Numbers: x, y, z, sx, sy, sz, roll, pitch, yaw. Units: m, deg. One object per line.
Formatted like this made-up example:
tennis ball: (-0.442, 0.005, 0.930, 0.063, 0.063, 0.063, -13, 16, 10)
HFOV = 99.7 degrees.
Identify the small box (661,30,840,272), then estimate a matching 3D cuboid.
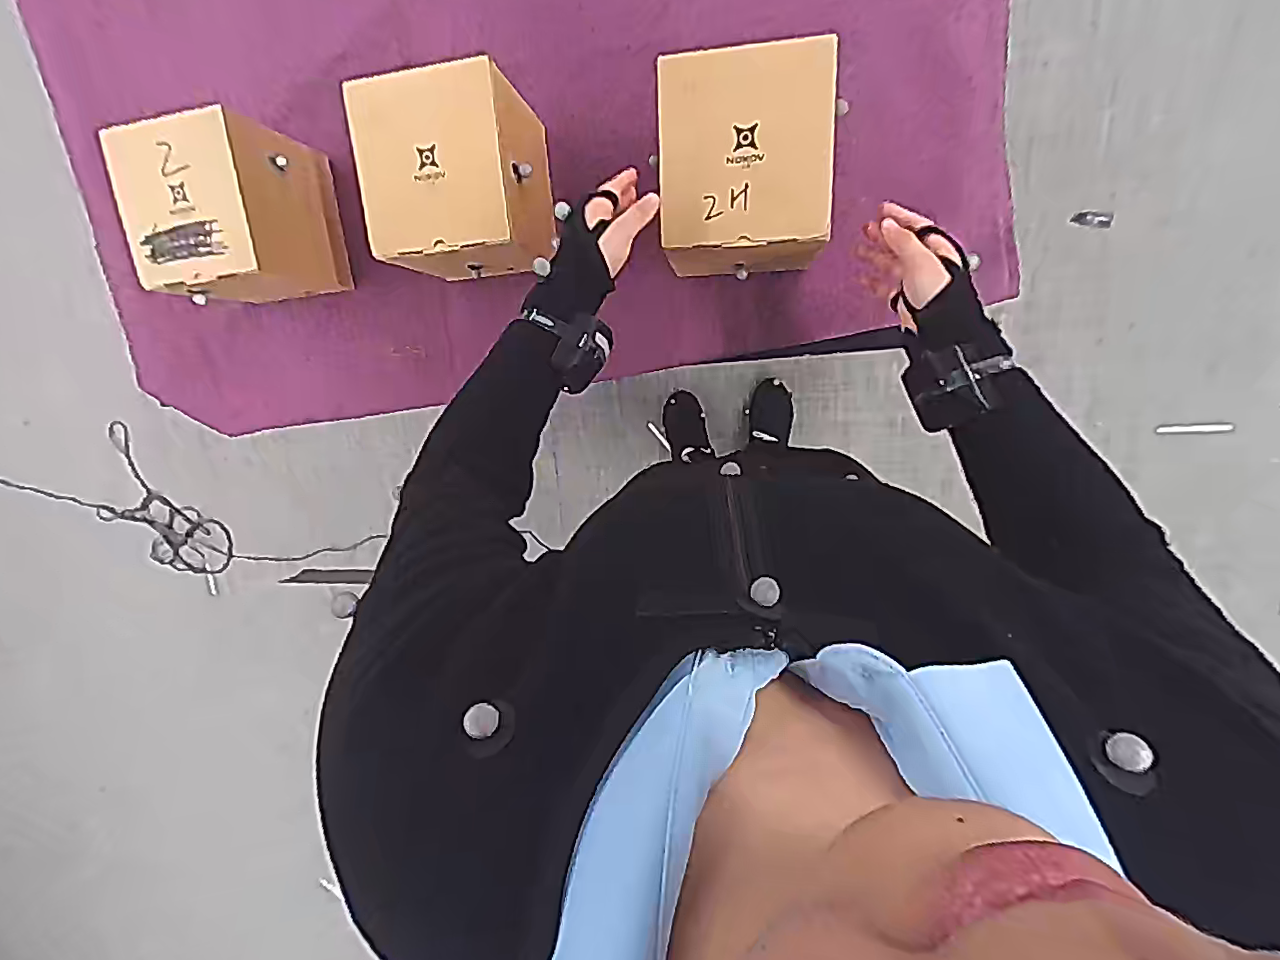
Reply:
small box: (0.113, -0.336, 0.589, 0.168, 0.176, 0.179, 1, 102, 10)

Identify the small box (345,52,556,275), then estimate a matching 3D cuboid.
small box: (-0.208, -0.354, 0.642, 0.168, 0.176, 0.179, -3, 103, 10)
